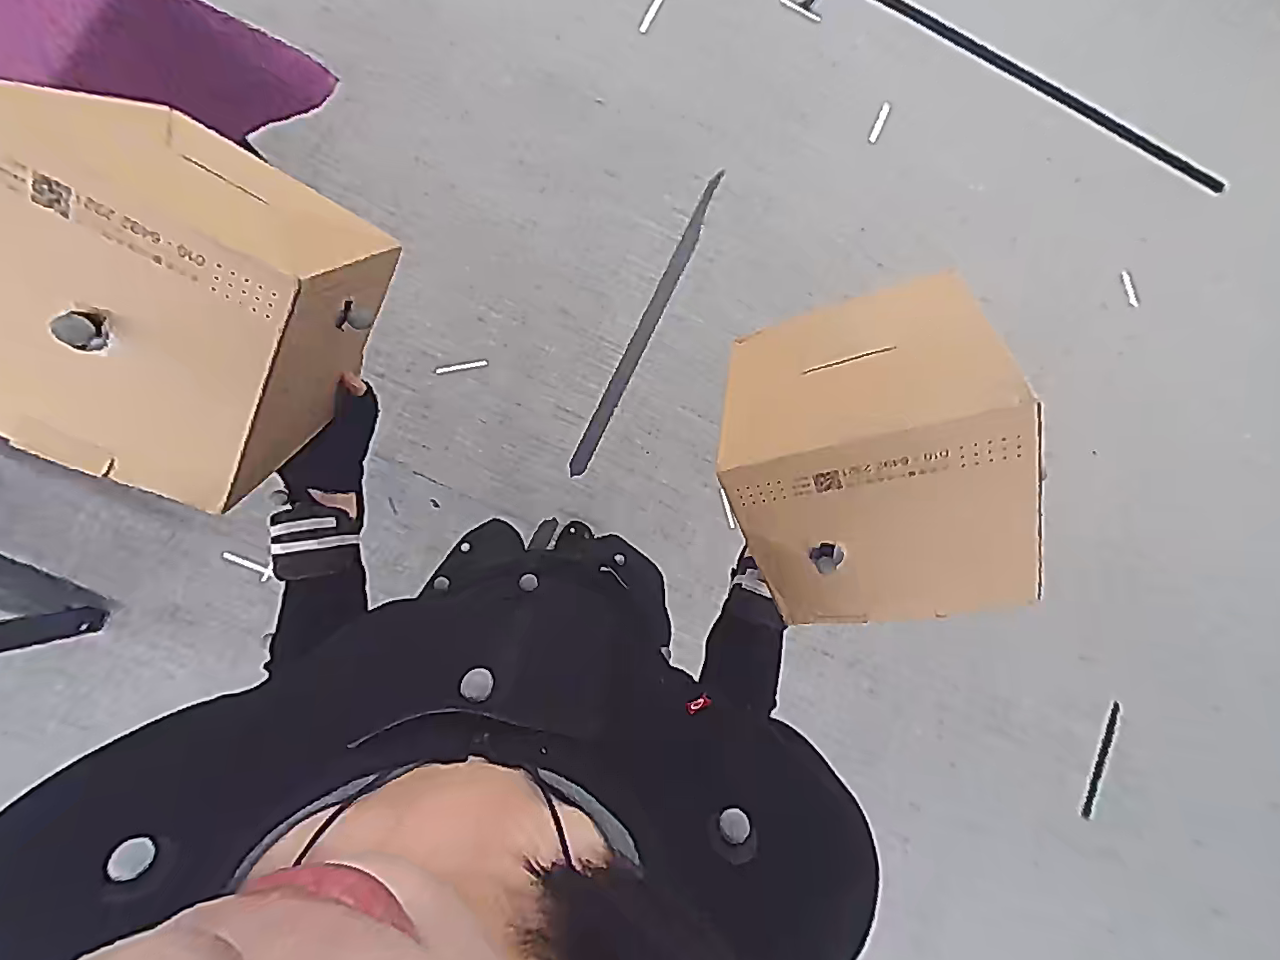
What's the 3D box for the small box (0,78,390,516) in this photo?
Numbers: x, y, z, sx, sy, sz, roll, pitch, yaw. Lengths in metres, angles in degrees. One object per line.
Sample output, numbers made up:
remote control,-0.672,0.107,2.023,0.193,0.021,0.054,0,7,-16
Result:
small box,-0.286,-0.114,0.337,0.168,0.179,0.176,27,112,-18
